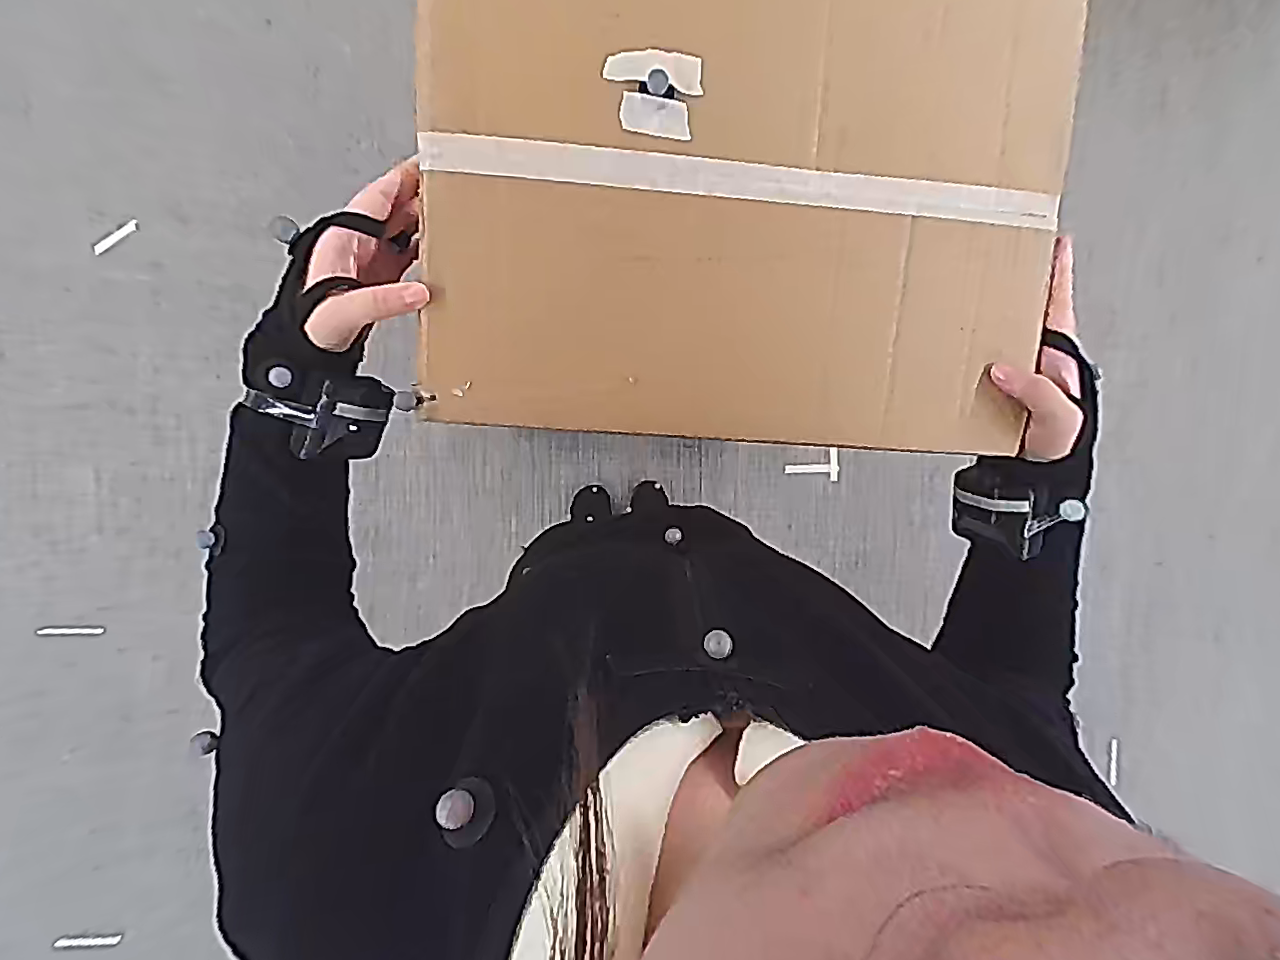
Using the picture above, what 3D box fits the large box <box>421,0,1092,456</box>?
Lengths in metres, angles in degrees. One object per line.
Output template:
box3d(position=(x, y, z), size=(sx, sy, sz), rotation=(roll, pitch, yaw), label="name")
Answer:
box3d(position=(0.060, -0.197, 0.478), size=(0.408, 0.320, 0.320), rotation=(3, 97, -4), label="large box")
